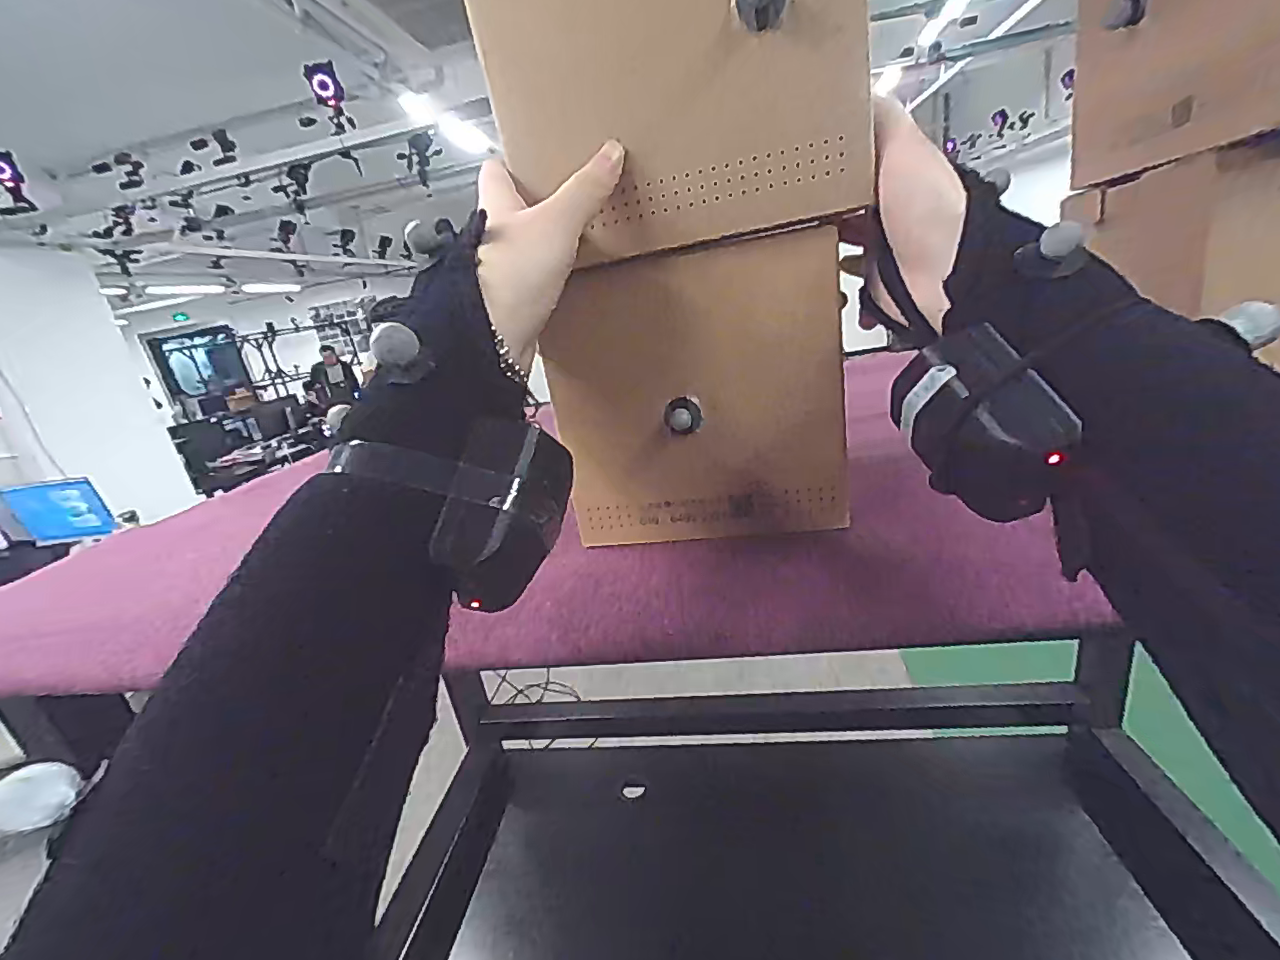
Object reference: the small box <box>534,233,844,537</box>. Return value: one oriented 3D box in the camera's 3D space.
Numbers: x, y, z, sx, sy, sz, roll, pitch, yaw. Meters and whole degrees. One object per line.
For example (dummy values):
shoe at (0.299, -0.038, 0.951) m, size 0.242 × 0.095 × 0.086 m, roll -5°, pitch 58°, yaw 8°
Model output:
small box at (0.046, -0.066, 0.384) m, size 0.168 × 0.176 × 0.179 m, roll -4°, pitch 20°, yaw 12°

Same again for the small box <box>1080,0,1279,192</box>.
small box at (0.372, -0.262, 0.282) m, size 0.179 × 0.176 × 0.168 m, roll -6°, pitch 18°, yaw 12°

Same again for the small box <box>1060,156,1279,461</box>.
small box at (0.404, -0.115, 0.345) m, size 0.179 × 0.176 × 0.168 m, roll -5°, pitch 18°, yaw 16°

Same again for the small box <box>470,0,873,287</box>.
small box at (0.029, -0.216, 0.312) m, size 0.179 × 0.176 × 0.168 m, roll -7°, pitch 21°, yaw 14°
